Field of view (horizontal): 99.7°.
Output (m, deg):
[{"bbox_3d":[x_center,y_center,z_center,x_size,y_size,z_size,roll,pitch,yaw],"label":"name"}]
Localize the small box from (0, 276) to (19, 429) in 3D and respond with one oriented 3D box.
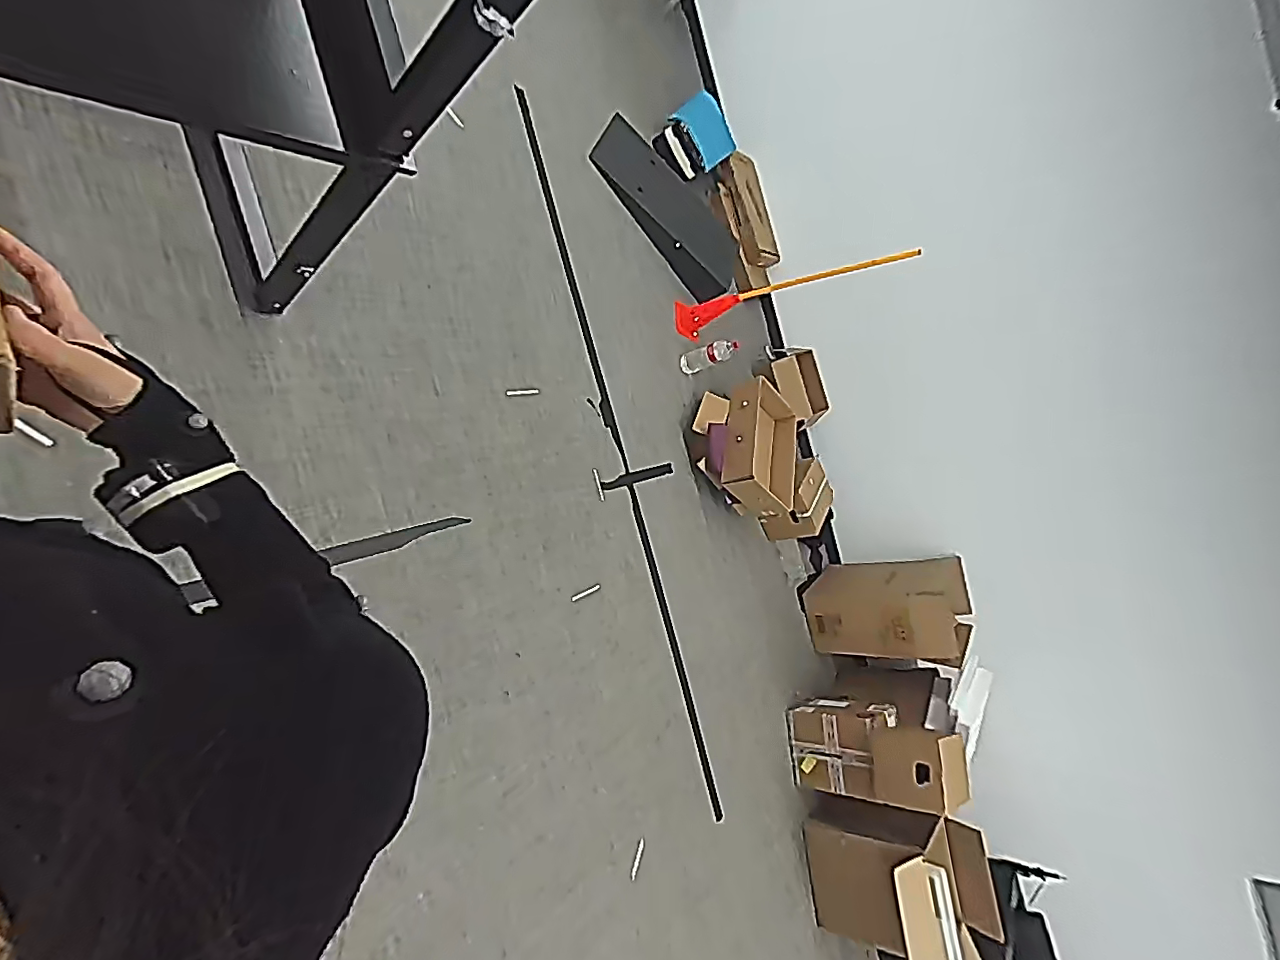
[{"bbox_3d":[-0.447,-0.119,0.265,0.168,0.176,0.179,-12,90,-50],"label":"small box"}]
